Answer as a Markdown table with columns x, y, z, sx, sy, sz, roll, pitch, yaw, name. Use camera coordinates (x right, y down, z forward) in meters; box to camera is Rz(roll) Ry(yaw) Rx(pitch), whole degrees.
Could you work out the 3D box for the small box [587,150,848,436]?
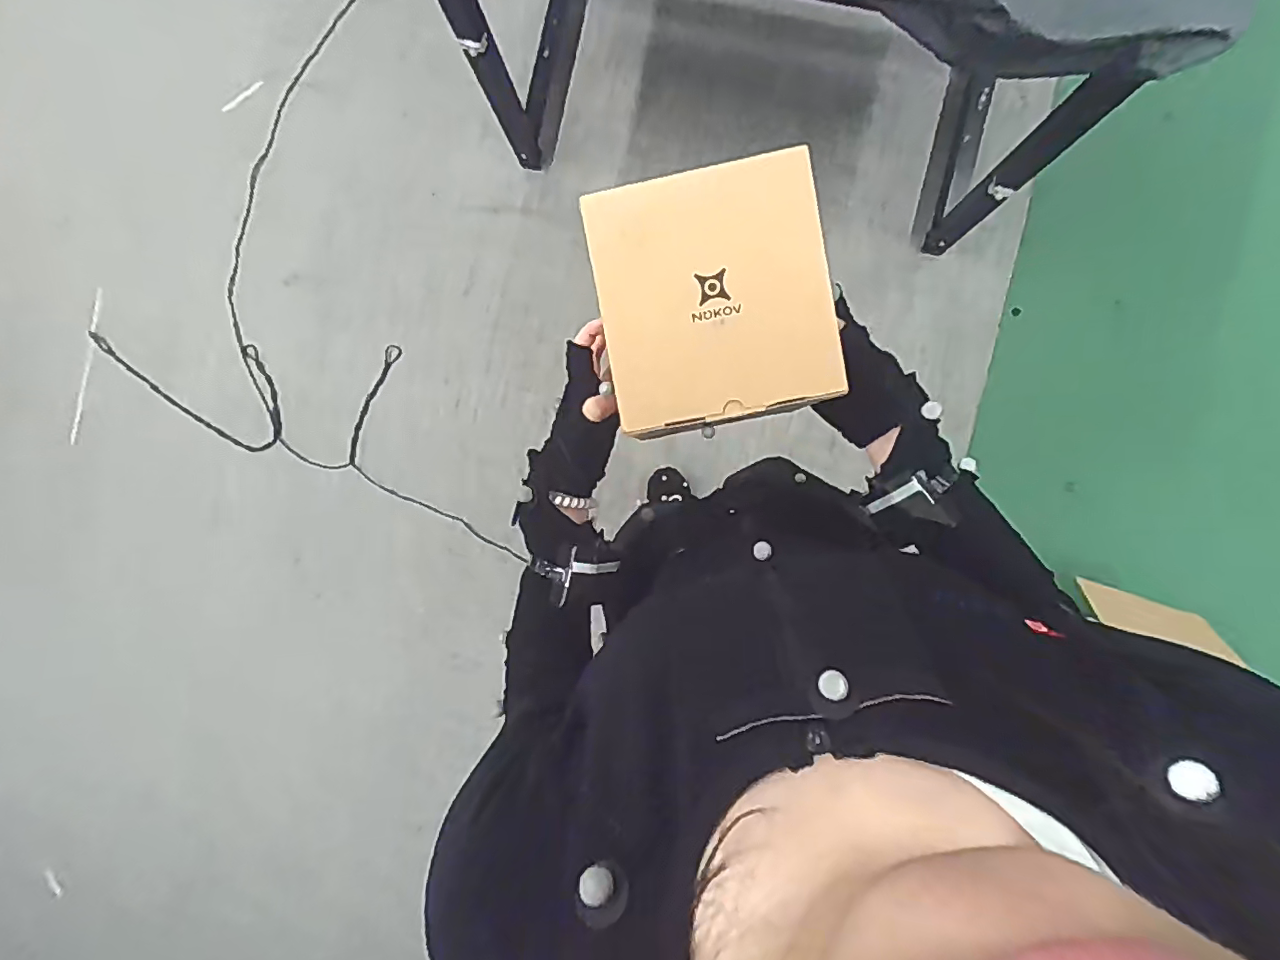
| x | y | z | sx | sy | sz | roll | pitch | yaw | name |
| --- | --- | --- | --- | --- | --- | --- | --- | --- | --- |
| 0.057 | -0.138 | 0.465 | 0.168 | 0.176 | 0.179 | -11 | 93 | 3 | small box |
